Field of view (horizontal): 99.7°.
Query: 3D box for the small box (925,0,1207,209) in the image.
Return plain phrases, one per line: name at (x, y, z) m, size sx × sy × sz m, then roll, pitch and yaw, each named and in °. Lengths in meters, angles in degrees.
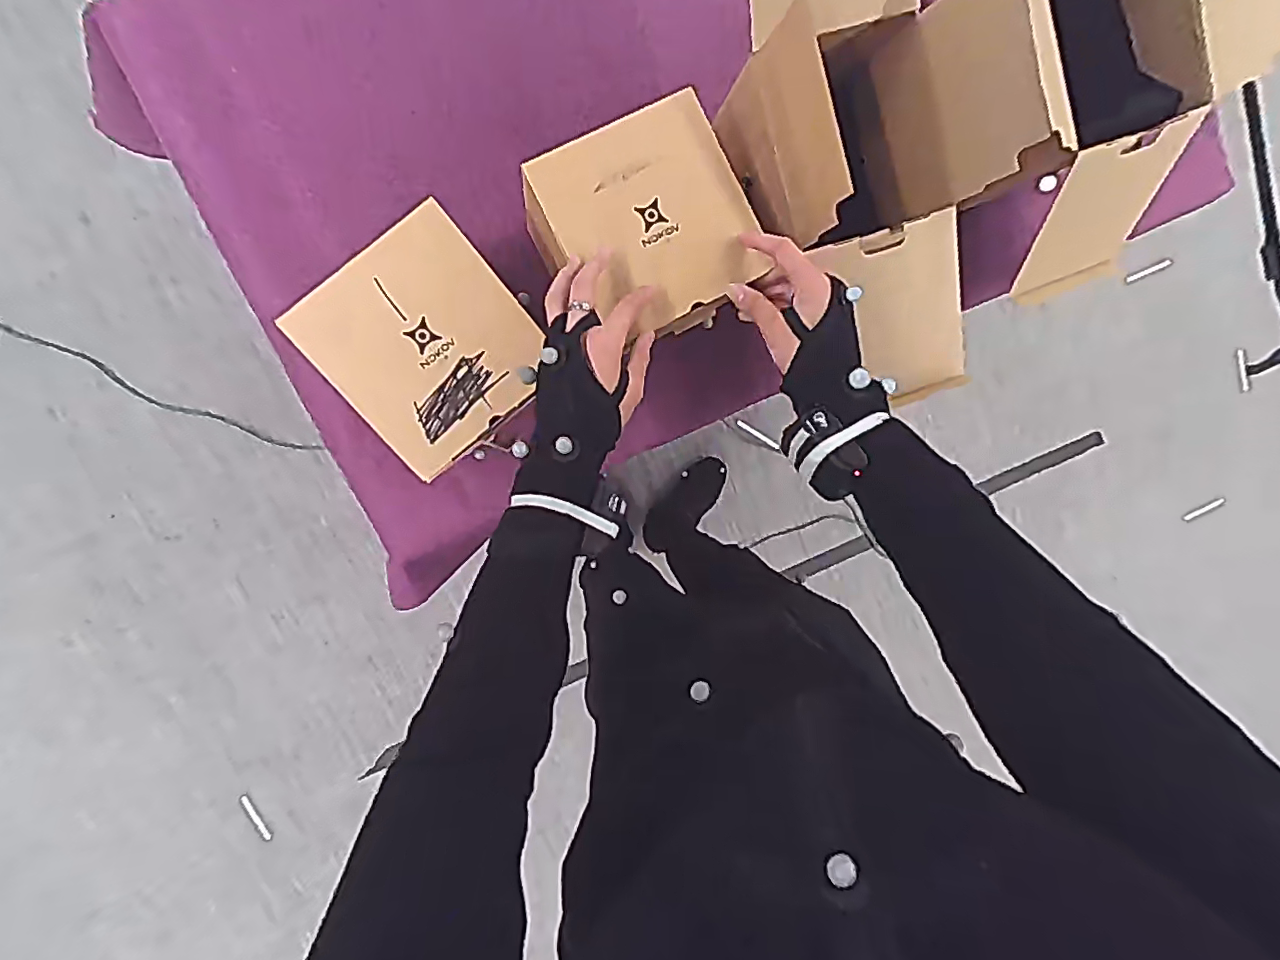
small box at (0.451, -0.436, 0.598) m, size 0.168 × 0.176 × 0.179 m, roll -22°, pitch 101°, yaw -5°
